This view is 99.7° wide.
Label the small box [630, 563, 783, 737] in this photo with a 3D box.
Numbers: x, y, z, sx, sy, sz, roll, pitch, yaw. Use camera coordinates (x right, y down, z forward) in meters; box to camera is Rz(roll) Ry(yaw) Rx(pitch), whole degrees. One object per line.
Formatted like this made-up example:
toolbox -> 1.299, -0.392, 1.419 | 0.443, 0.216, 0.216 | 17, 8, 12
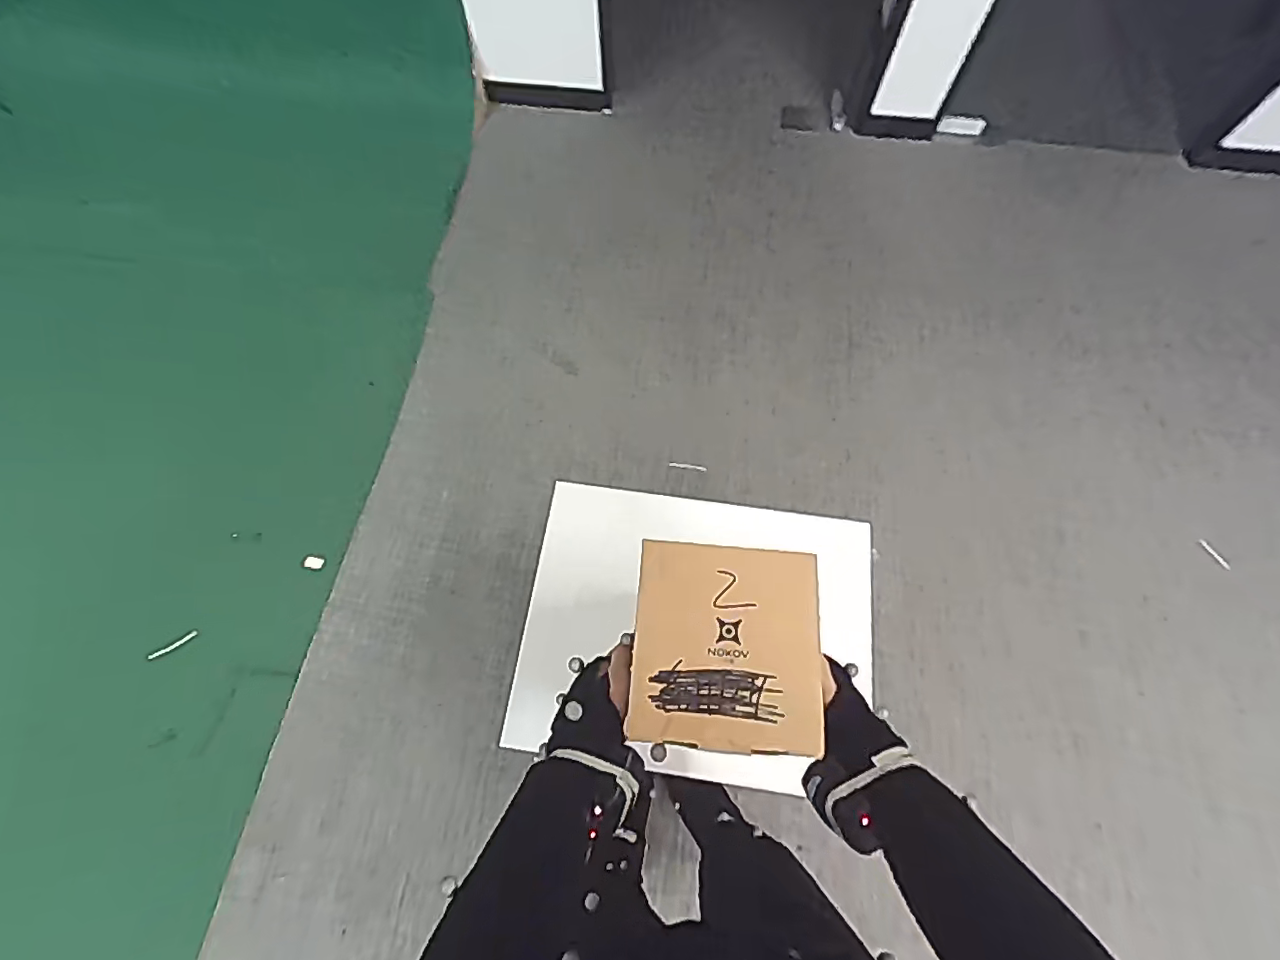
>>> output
small box -> 0.079, 0.222, 0.697 | 0.168, 0.176, 0.179 | 7, 67, 3
